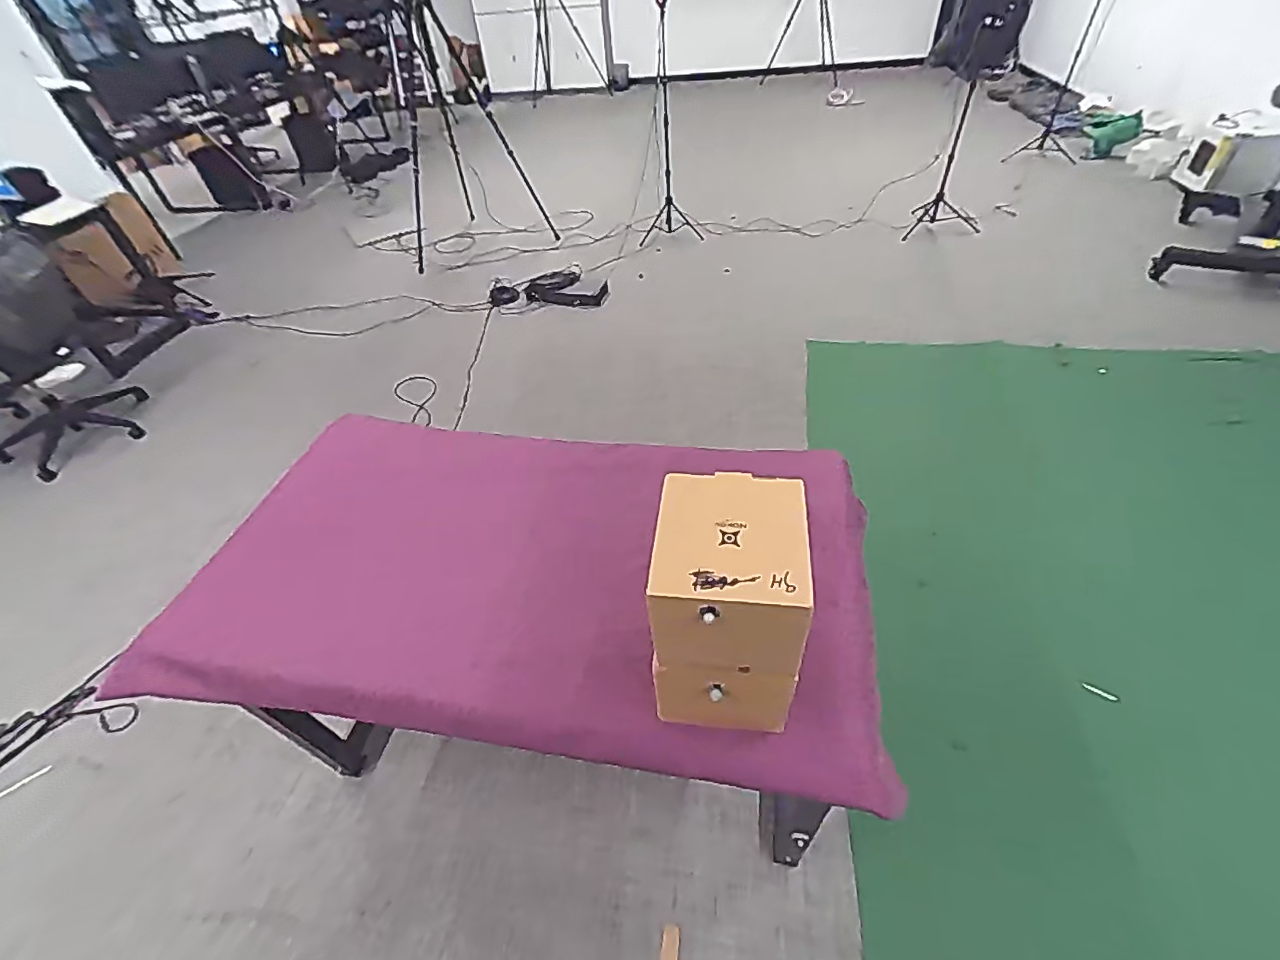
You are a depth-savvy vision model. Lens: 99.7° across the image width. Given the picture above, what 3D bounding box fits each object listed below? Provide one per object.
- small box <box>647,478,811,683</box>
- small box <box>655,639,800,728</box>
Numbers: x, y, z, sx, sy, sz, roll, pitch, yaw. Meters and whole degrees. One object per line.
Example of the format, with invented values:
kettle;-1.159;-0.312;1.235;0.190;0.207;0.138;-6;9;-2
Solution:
small box;0.108;0.117;0.649;0.168;0.176;0.179;1;45;11
small box;0.123;0.234;0.763;0.179;0.176;0.168;1;46;11
